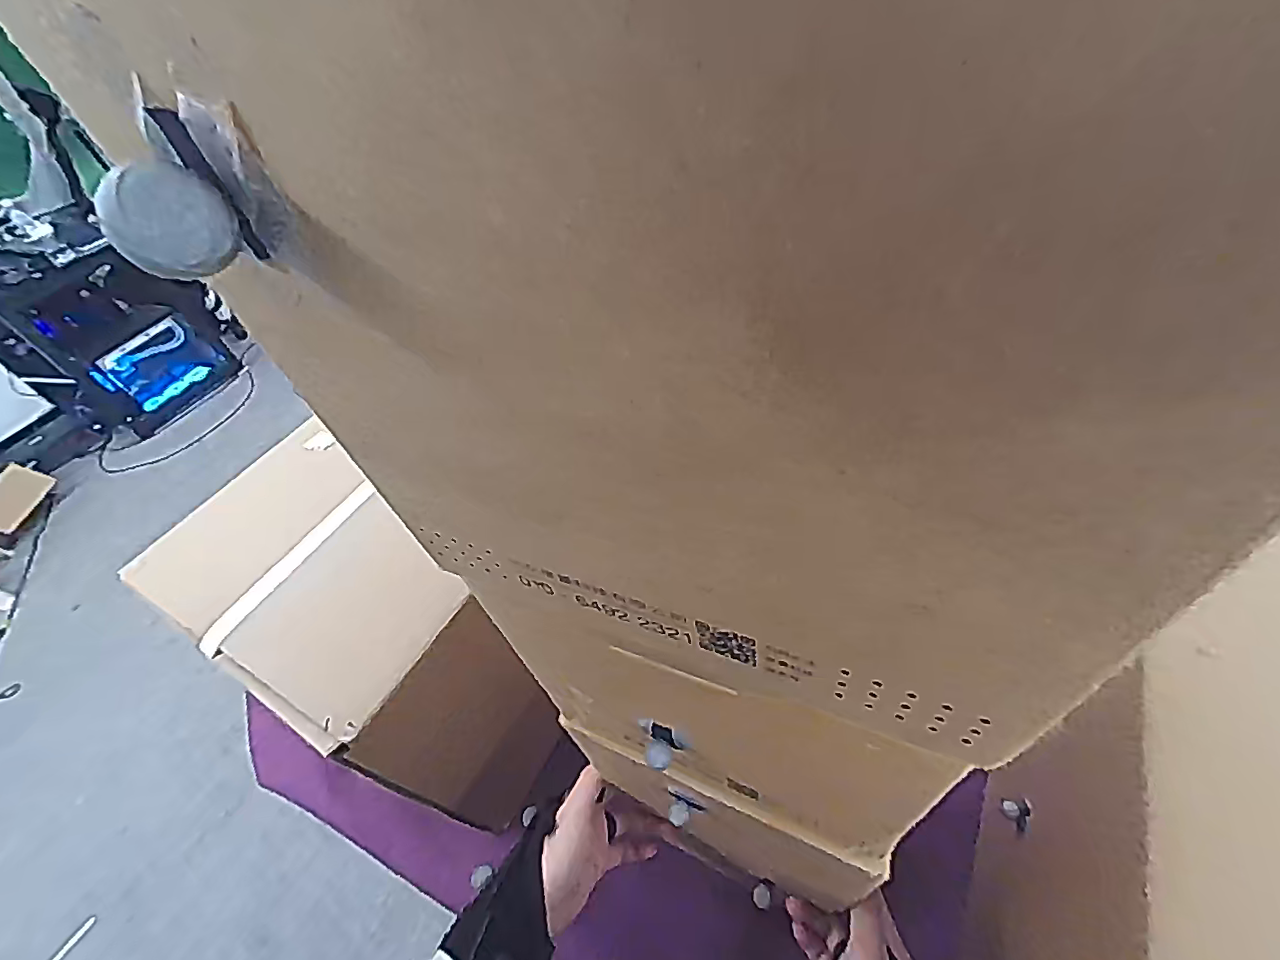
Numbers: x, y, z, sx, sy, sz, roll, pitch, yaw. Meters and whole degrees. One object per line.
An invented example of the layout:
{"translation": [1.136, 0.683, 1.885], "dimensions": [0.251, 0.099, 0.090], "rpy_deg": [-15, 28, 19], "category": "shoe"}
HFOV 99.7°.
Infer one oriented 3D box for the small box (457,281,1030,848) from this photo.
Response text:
{"translation": [0.057, 0.032, 0.254], "dimensions": [0.168, 0.176, 0.179], "rpy_deg": [13, 53, 23], "category": "small box"}
